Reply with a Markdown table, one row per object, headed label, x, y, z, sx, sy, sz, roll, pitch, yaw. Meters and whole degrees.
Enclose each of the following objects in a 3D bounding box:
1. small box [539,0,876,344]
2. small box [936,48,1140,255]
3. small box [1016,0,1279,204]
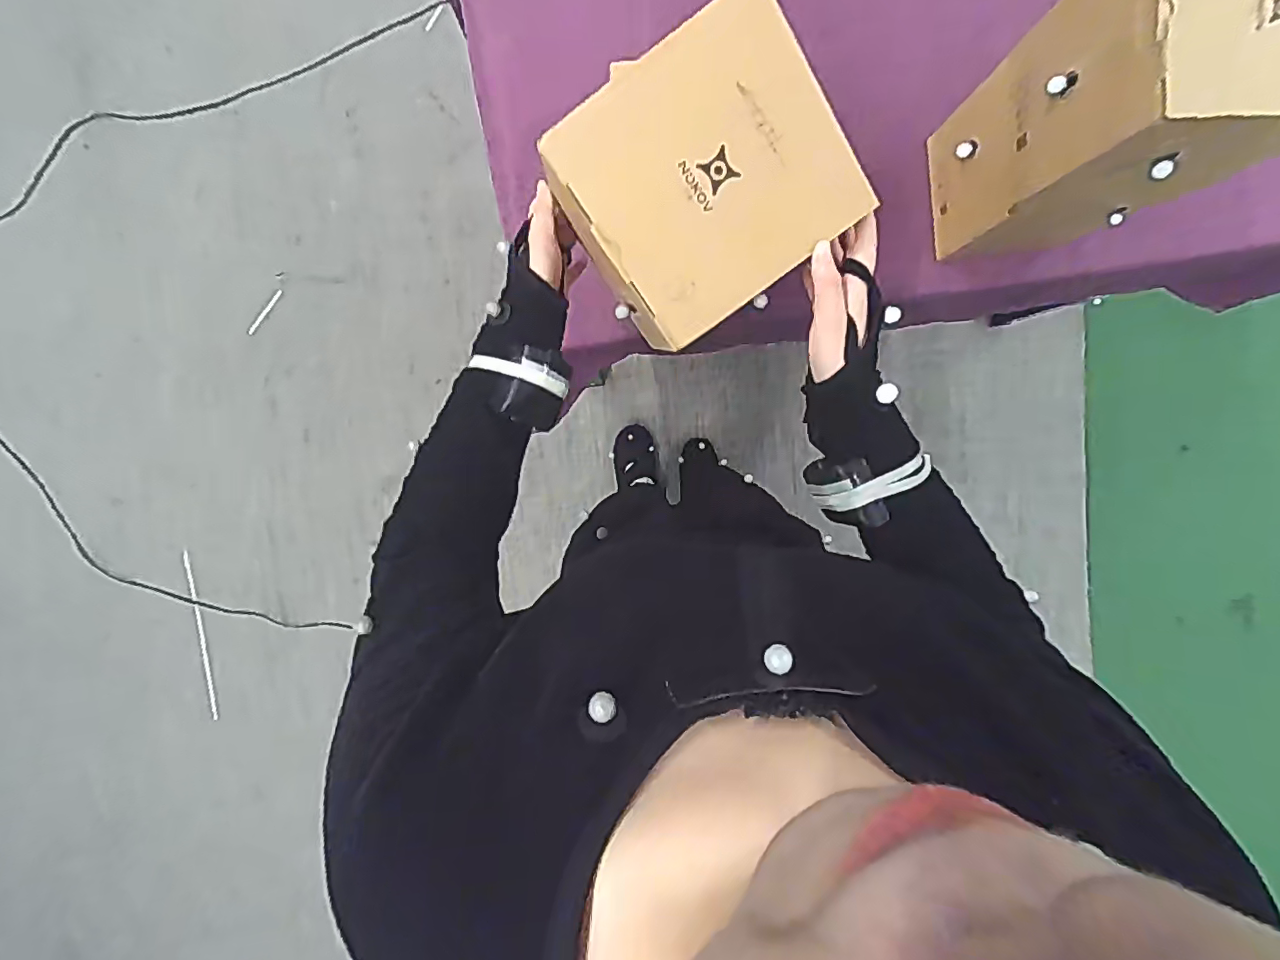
| label | x | y | z | sx | sy | sz | roll | pitch | yaw |
| --- | --- | --- | --- | --- | --- | --- | --- | --- | --- |
| small box | 0.044 | -0.227 | 0.437 | 0.179 | 0.176 | 0.168 | -34 | 106 | 5 |
| small box | 0.483 | -0.387 | 0.654 | 0.179 | 0.176 | 0.168 | -7 | 95 | -1 |
| small box | 0.479 | -0.369 | 0.491 | 0.179 | 0.176 | 0.168 | -2 | 95 | -1 |
